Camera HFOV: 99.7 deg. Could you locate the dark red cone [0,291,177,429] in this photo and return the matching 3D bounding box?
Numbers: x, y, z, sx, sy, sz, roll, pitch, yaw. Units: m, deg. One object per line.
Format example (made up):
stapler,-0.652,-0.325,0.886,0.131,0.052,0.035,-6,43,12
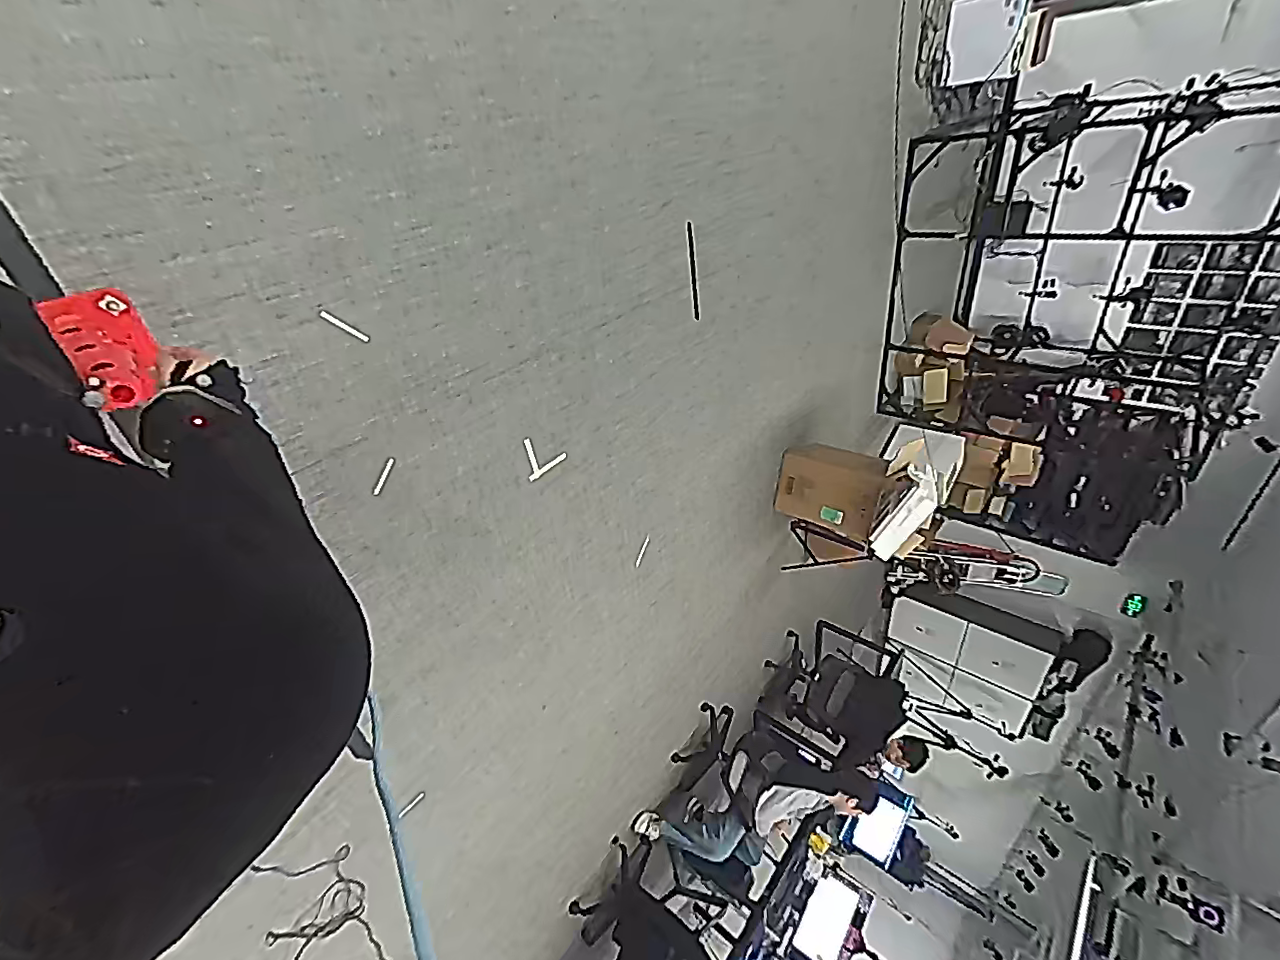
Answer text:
dark red cone,-0.852,-0.164,0.852,0.201,0.394,0.202,-37,133,-35
